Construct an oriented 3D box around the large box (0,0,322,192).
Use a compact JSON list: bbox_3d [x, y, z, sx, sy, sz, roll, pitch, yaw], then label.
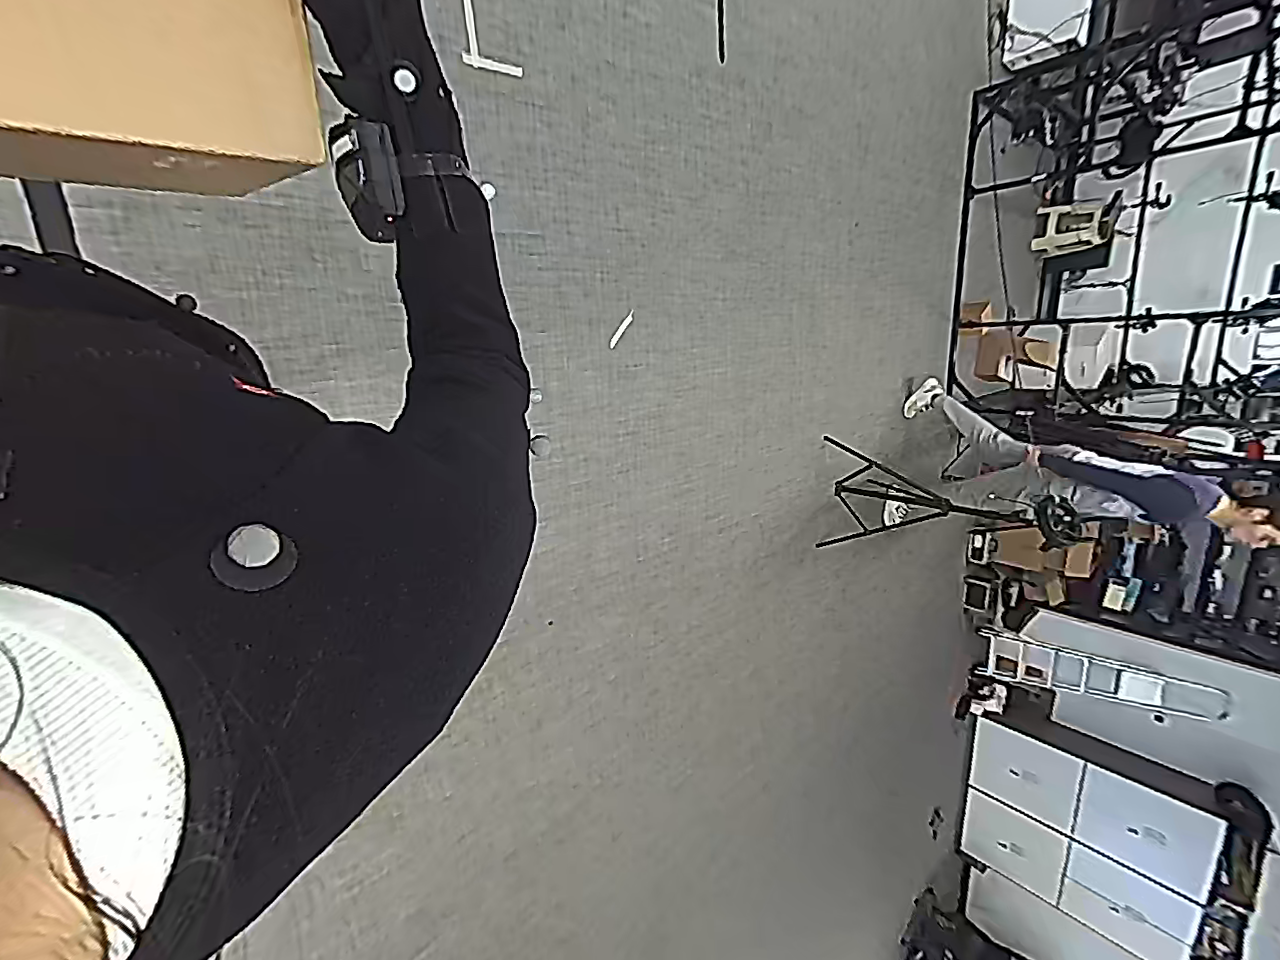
[{"bbox_3d":[-0.463,-0.351,0.288,0.408,0.320,0.320,-19,120,-40],"label":"large box"}]
